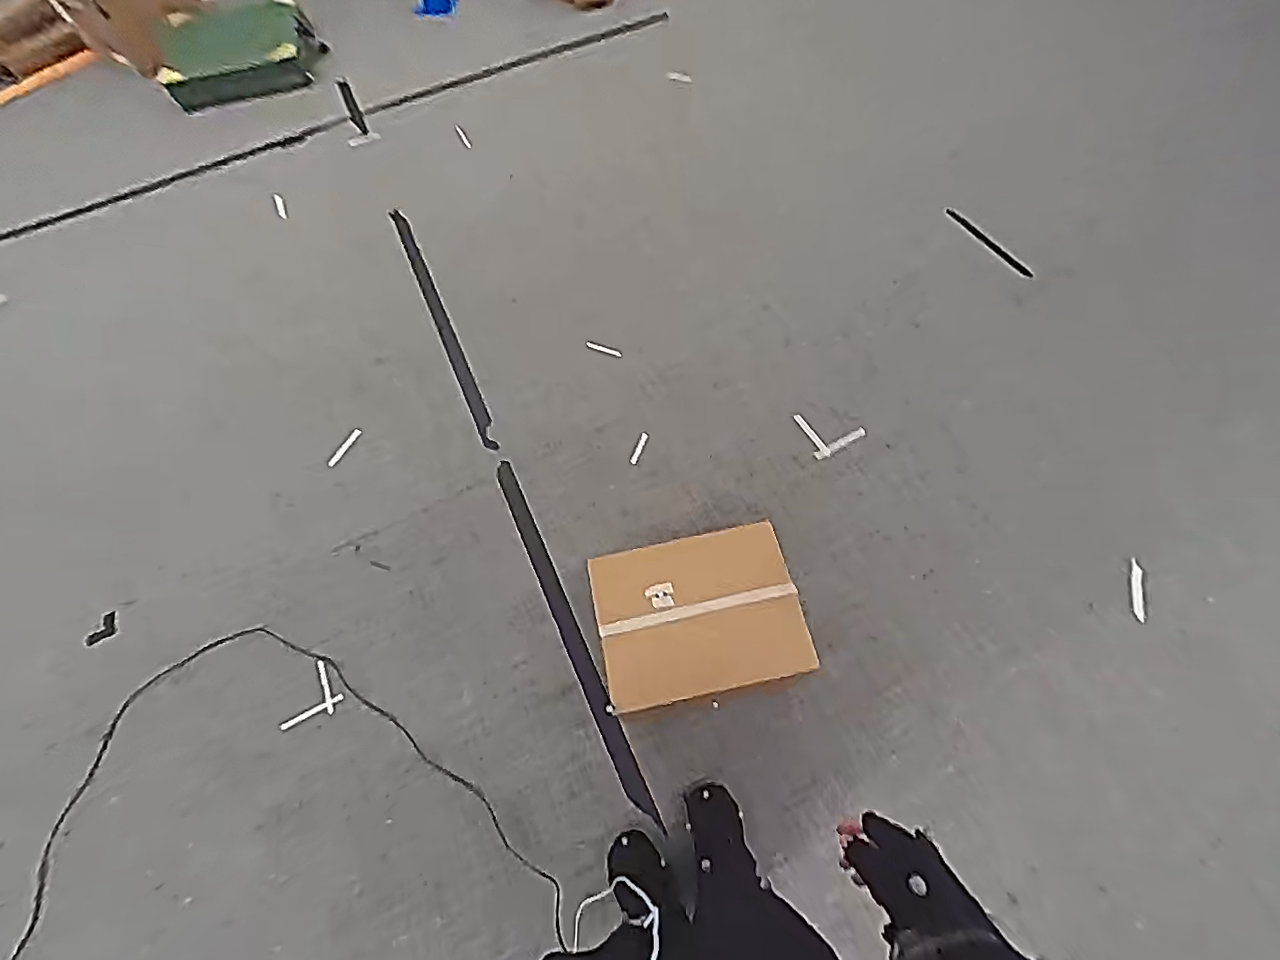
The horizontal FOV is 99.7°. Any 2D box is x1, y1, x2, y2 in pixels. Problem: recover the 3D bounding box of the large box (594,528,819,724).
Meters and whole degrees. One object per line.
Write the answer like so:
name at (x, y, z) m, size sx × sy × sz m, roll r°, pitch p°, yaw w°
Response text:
large box at (0.136, 0.346, 1.235) m, size 0.408 × 0.320 × 0.320 m, roll -13°, pitch 62°, yaw -2°
